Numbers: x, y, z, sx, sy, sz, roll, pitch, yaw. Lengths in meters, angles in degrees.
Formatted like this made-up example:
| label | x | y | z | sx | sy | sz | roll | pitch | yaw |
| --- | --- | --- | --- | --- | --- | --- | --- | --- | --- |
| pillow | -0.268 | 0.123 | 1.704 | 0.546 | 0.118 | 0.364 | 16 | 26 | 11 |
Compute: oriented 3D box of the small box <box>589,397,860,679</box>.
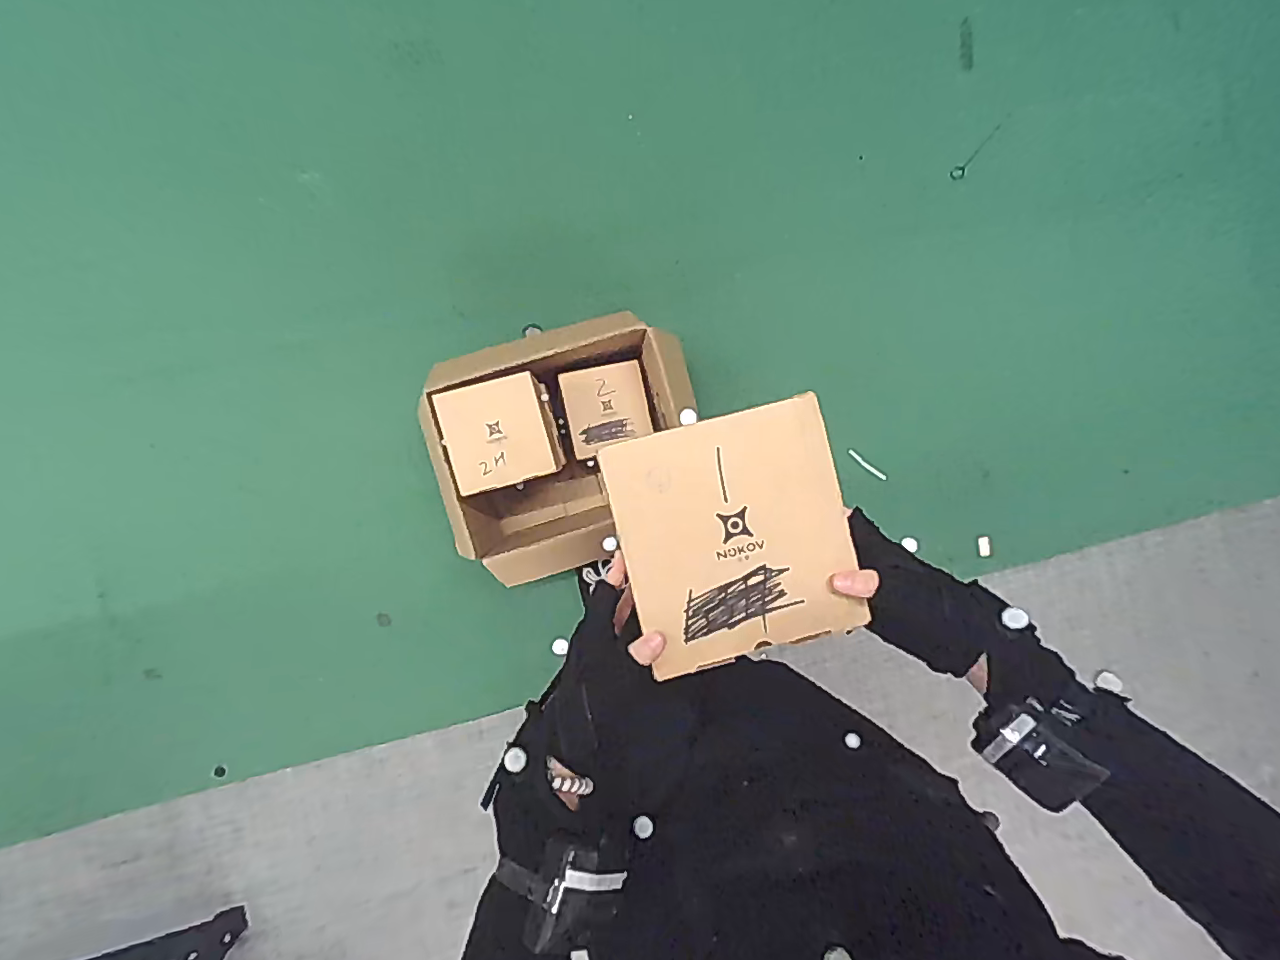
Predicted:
| label | x | y | z | sx | sy | sz | roll | pitch | yaw |
| --- | --- | --- | --- | --- | --- | --- | --- | --- | --- |
| small box | 0.060 | 0.040 | 0.468 | 0.168 | 0.176 | 0.179 | -14 | 91 | -2 |
